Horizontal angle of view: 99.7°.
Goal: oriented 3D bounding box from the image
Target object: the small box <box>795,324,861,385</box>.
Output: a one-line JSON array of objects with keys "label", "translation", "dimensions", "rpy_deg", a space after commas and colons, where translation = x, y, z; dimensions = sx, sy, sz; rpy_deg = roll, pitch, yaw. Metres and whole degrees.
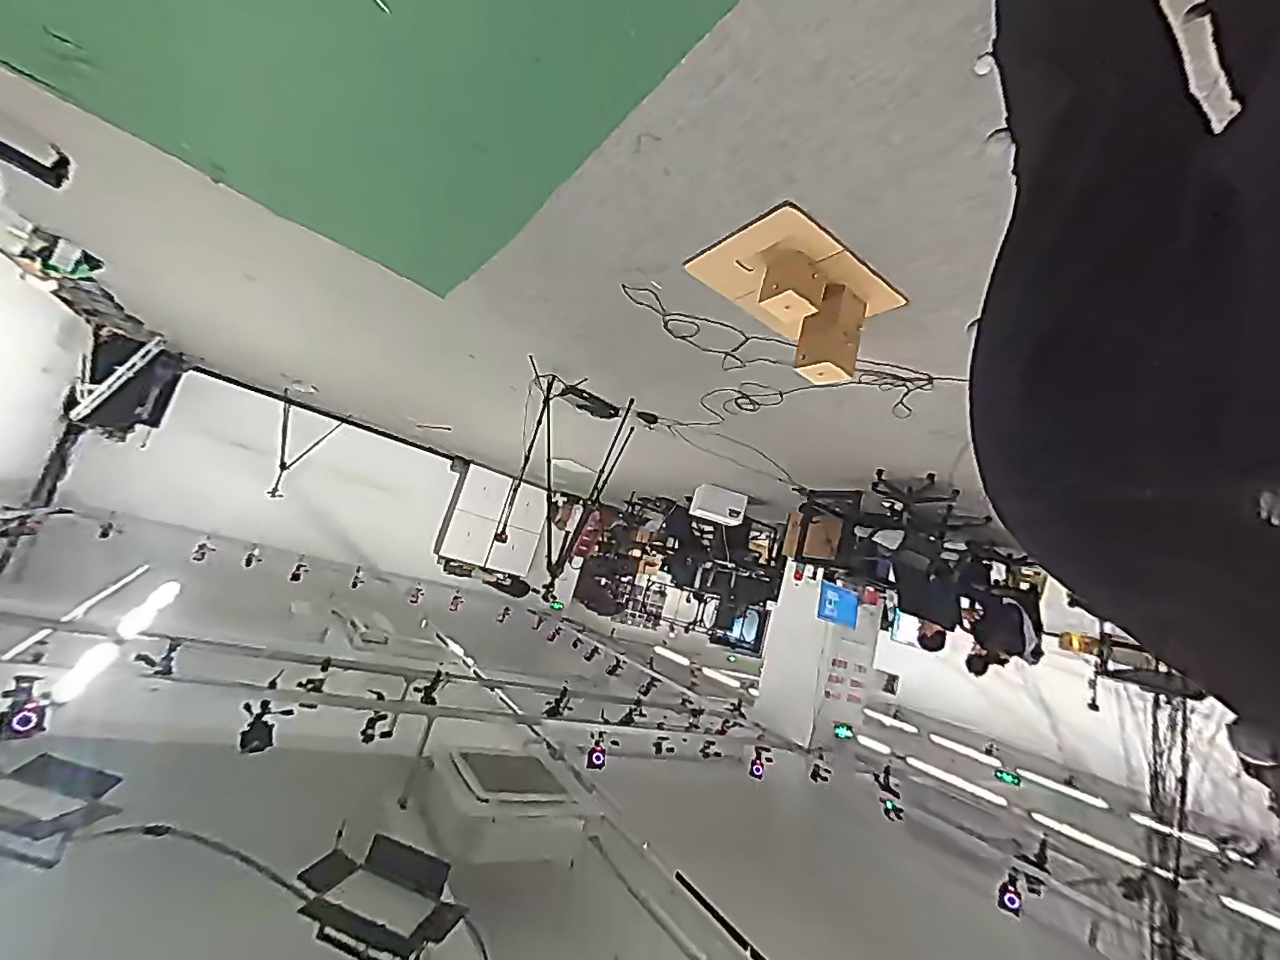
[{"label": "small box", "translation": [0.757, -0.503, 2.170], "dimensions": [0.168, 0.176, 0.179], "rpy_deg": [21, 168, -33]}]

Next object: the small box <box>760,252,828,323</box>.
[{"label": "small box", "translation": [0.597, -0.739, 2.086], "dimensions": [0.168, 0.176, 0.179], "rpy_deg": [22, 167, -28]}]
